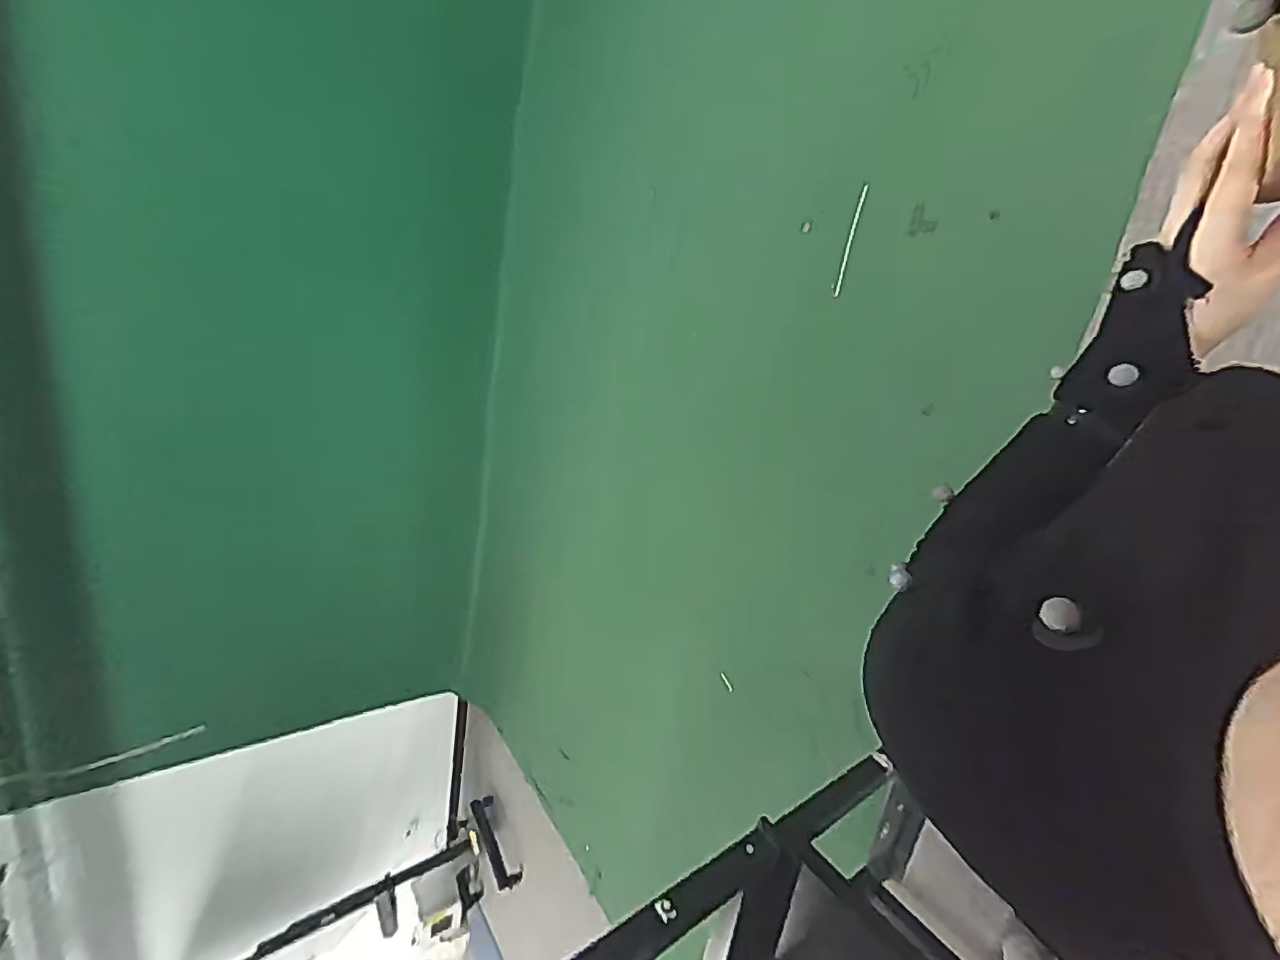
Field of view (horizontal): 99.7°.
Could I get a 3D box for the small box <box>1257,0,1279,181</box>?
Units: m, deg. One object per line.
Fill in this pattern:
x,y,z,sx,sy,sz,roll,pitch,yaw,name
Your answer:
0.389,-0.246,0.214,0.179,0.176,0.168,4,100,43,small box
